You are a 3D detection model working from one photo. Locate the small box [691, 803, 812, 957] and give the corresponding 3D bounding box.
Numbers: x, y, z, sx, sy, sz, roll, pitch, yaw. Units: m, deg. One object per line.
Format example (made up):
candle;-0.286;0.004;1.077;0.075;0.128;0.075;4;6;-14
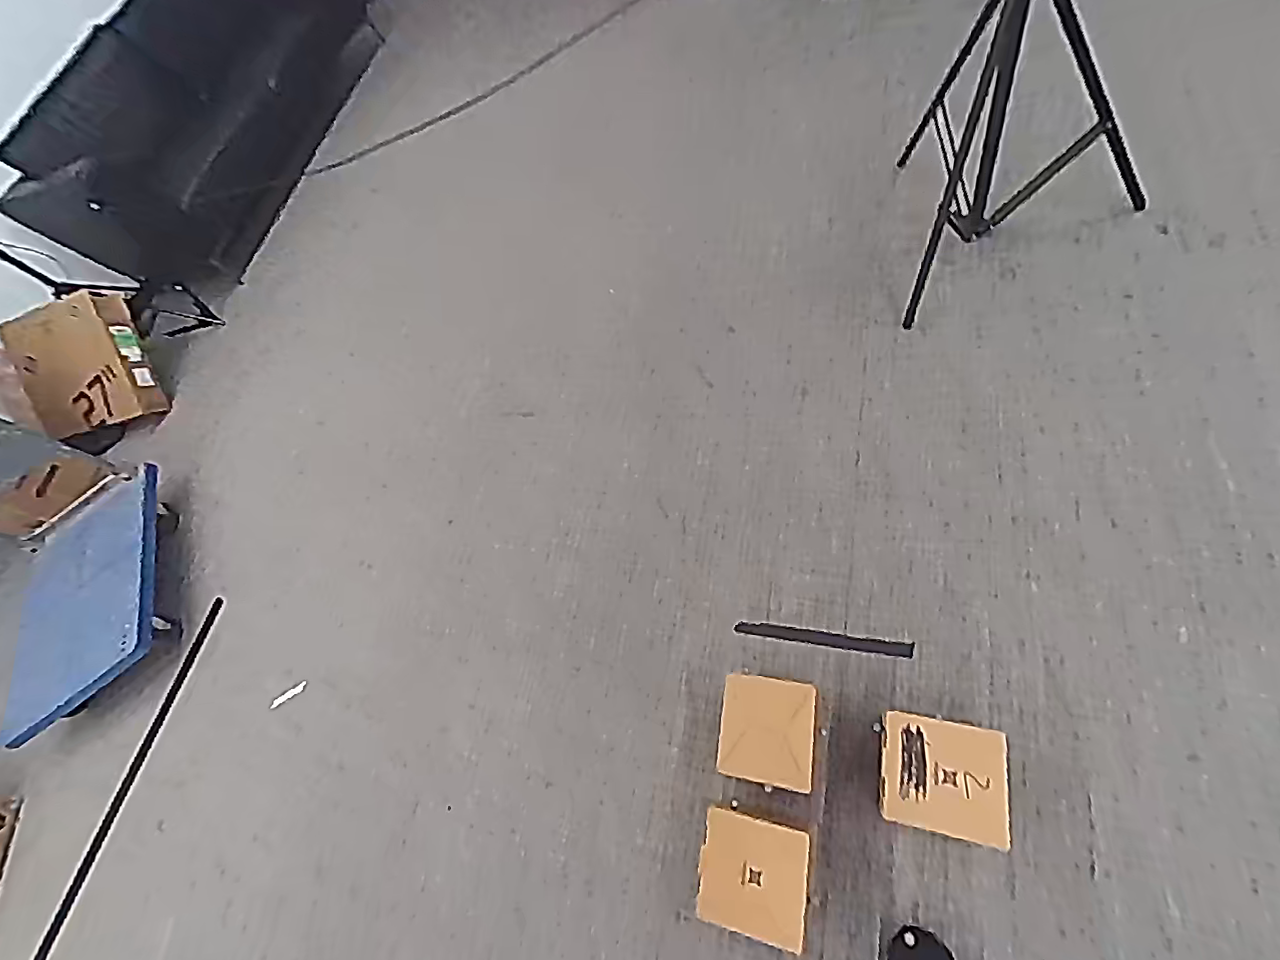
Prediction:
small box;0.208;0.694;0.965;0.179;0.176;0.168;2;66;24
